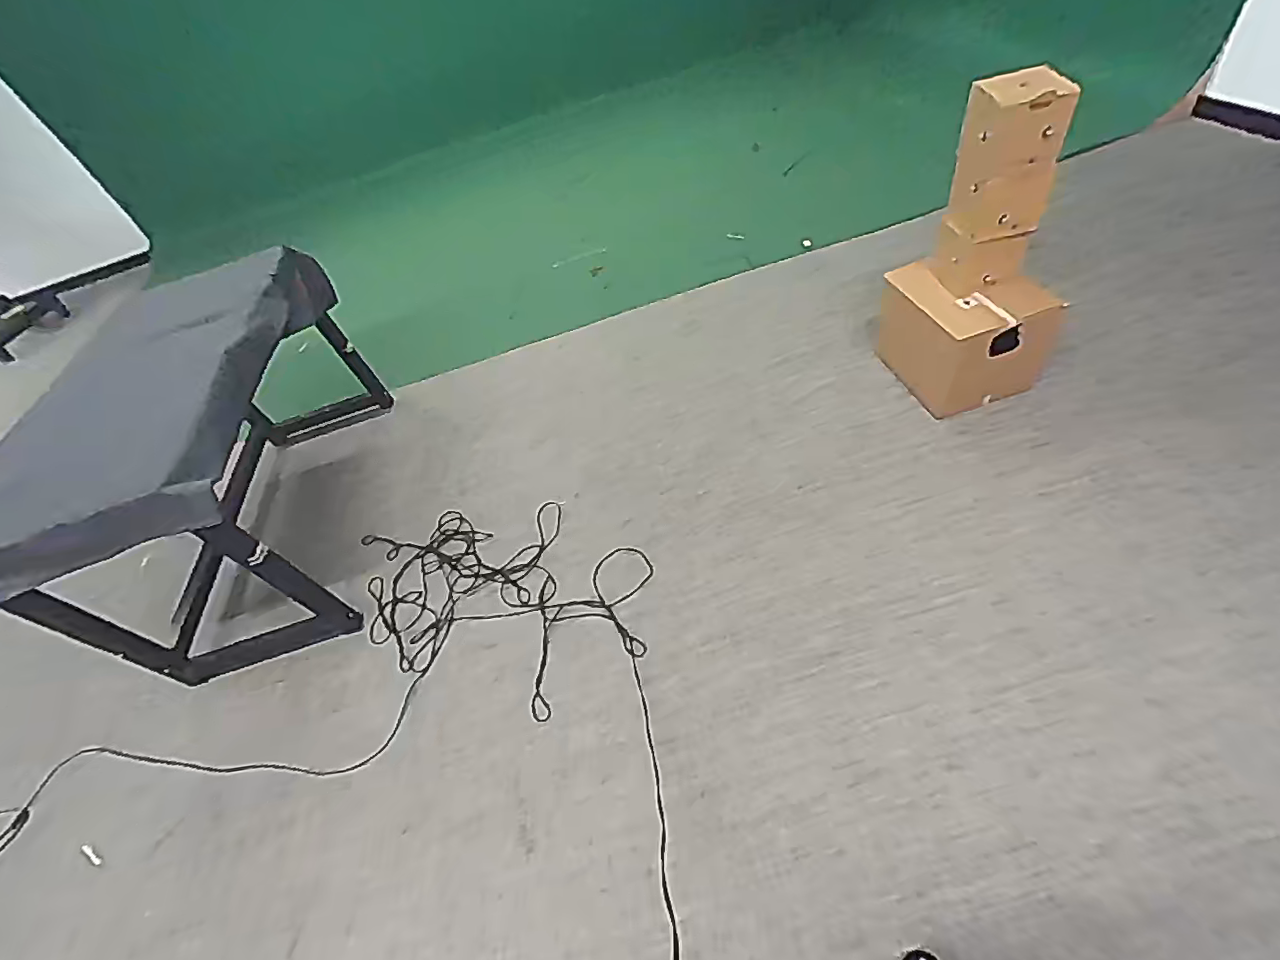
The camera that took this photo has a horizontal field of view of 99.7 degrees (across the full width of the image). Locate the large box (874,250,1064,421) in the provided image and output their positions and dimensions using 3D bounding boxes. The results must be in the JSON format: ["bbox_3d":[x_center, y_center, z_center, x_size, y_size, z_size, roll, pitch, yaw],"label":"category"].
[{"bbox_3d":[1.007,-0.461,1.727,0.320,0.320,0.408,-20,49,1],"label":"large box"}]

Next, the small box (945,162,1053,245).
[{"bbox_3d":[0.950,-0.761,1.452,0.168,0.176,0.179,-10,50,8],"label":"small box"}]

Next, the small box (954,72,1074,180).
[{"bbox_3d":[0.908,-0.863,1.332,0.168,0.176,0.179,-9,49,7],"label":"small box"}]
